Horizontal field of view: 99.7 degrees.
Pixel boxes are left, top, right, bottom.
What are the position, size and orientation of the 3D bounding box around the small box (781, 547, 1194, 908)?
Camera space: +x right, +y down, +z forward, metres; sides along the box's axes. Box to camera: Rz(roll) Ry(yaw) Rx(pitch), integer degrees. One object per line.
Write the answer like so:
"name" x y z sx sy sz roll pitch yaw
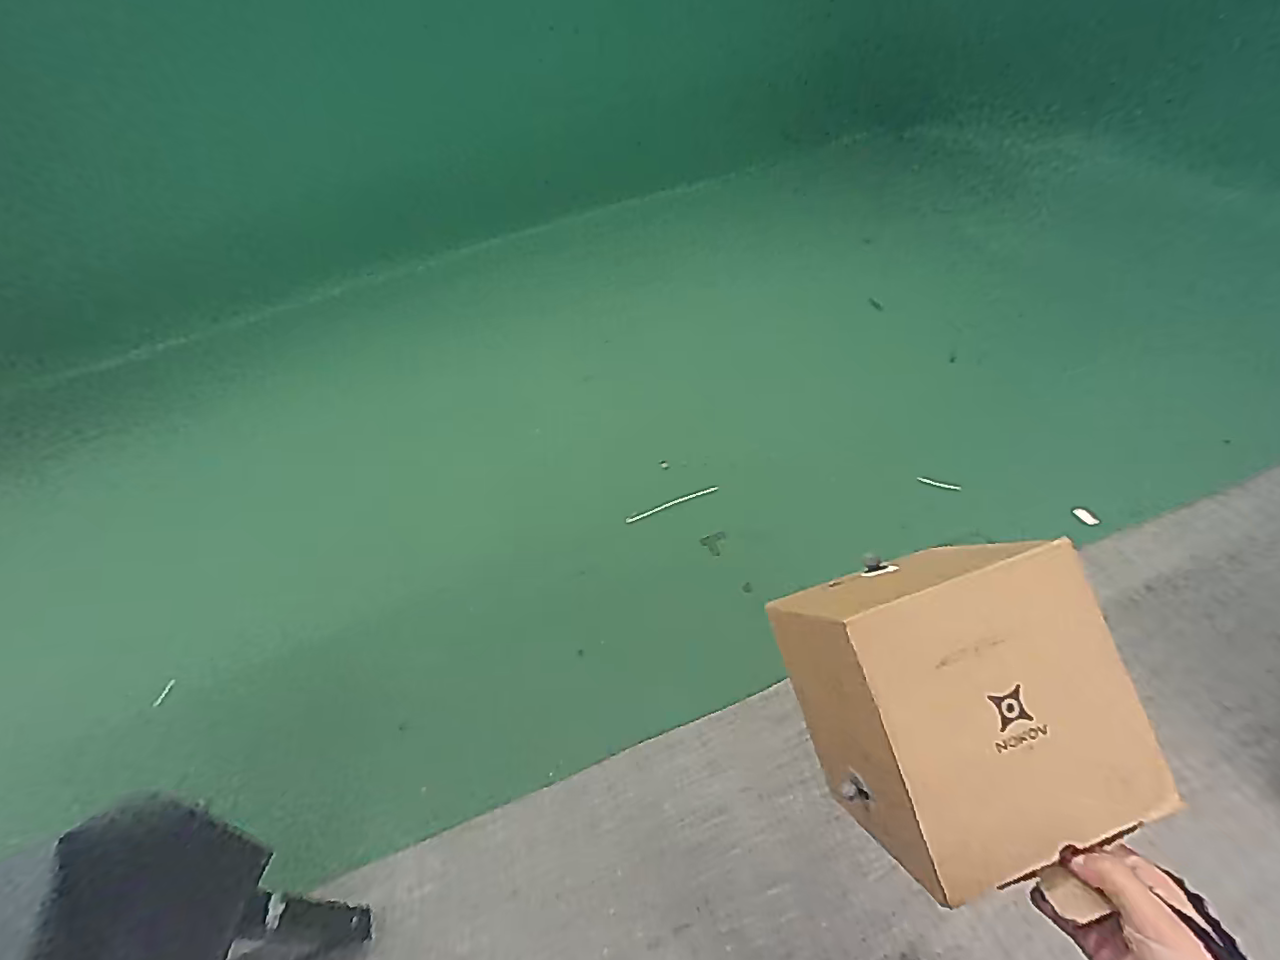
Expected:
"small box" 0.230 0.158 0.411 0.168 0.176 0.179 -17 81 -6
